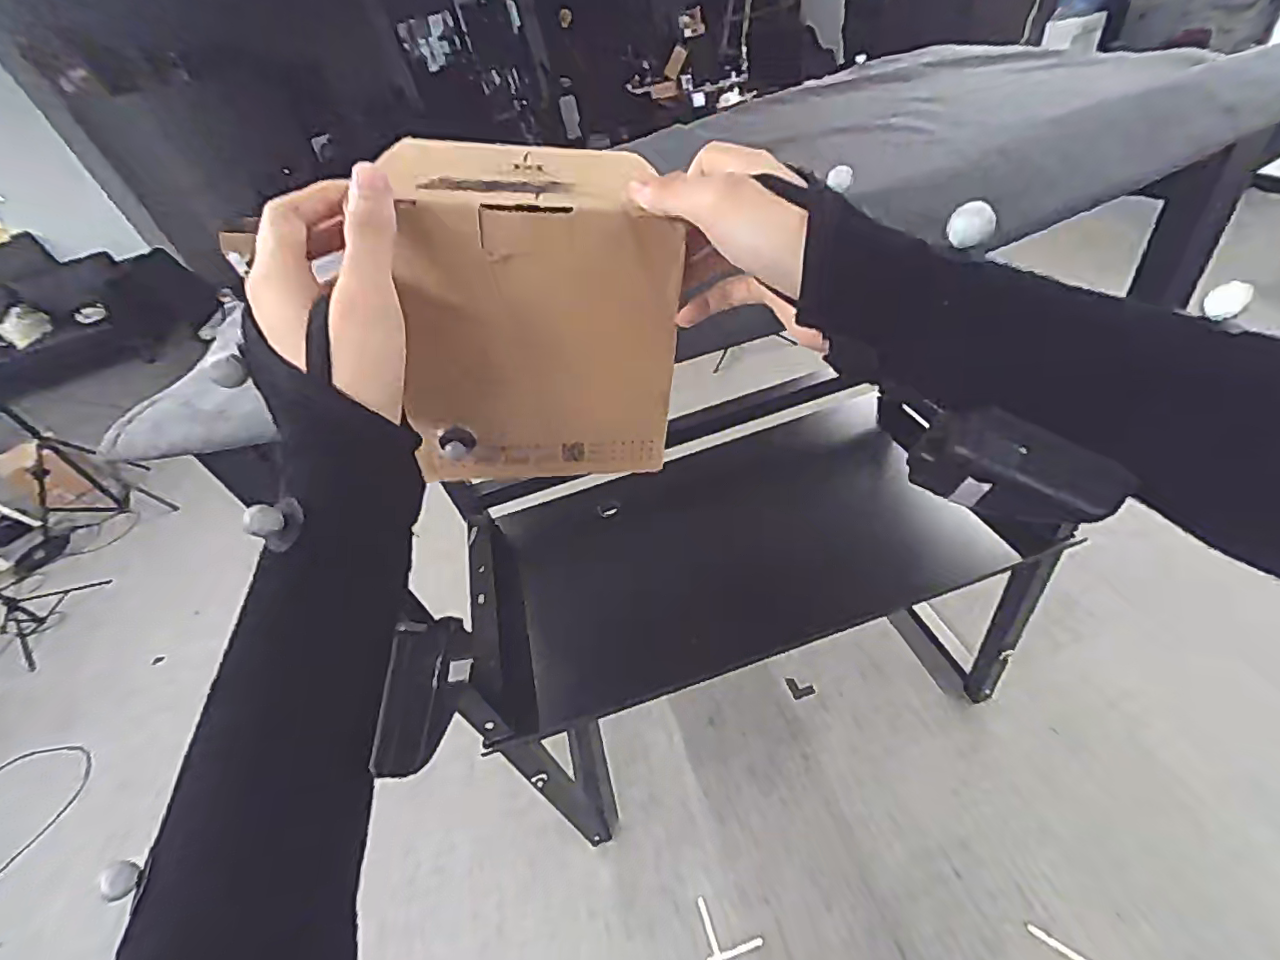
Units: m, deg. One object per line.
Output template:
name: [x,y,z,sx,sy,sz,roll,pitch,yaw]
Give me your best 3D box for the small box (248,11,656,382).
small box: [-0.088,-0.170,0.332,0.168,0.176,0.179,-3,39,-10]
